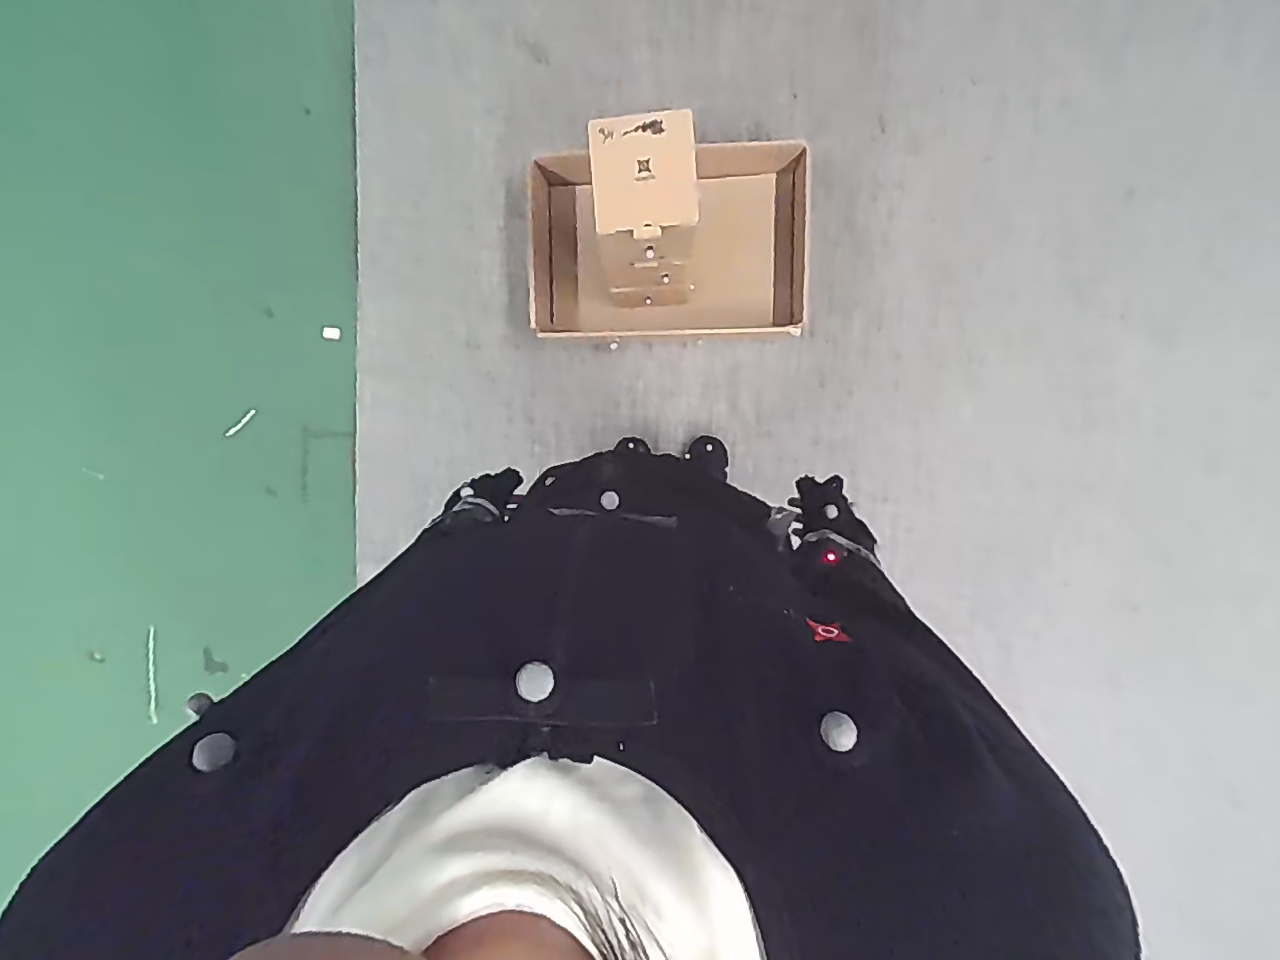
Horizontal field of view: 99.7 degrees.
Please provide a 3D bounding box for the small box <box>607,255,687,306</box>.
[{"bbox_3d":[0.020,-0.505,1.250,0.179,0.176,0.168,-1,95,6],"label":"small box"}]

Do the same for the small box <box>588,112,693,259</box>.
[{"bbox_3d":[0.008,-0.488,0.926,0.168,0.176,0.179,-2,96,4],"label":"small box"}]

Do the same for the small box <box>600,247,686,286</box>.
[{"bbox_3d":[0.011,-0.499,1.090,0.168,0.176,0.179,0,94,3],"label":"small box"}]
